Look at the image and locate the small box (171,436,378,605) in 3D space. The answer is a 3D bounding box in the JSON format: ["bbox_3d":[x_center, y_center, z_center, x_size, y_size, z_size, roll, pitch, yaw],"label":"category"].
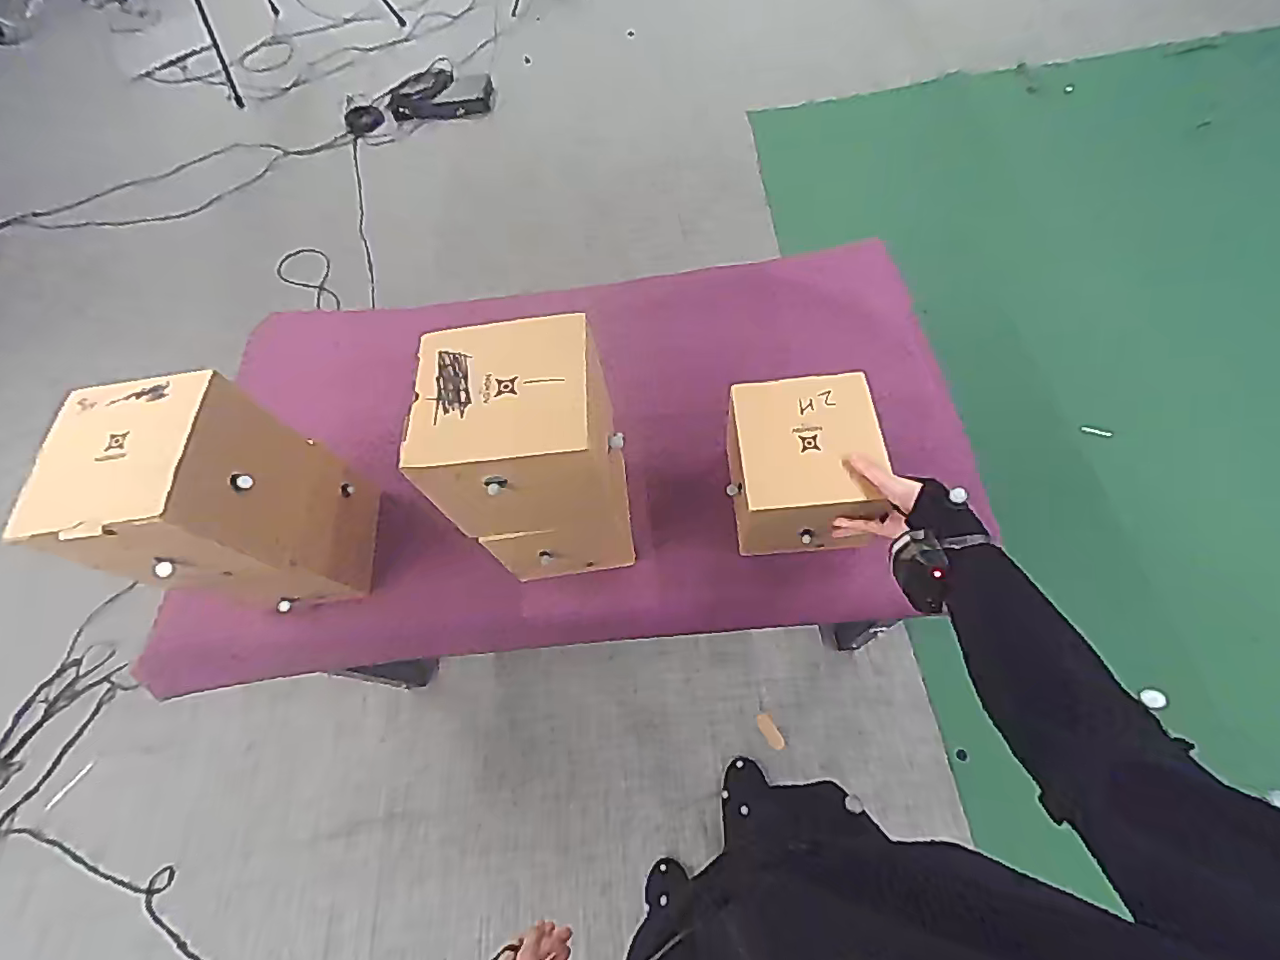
[{"bbox_3d":[-0.493,0.062,0.758,0.168,0.176,0.179,-8,63,3],"label":"small box"}]

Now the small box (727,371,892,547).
[{"bbox_3d":[0.206,-0.017,0.709,0.168,0.176,0.179,-4,64,5],"label":"small box"}]

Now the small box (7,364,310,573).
[{"bbox_3d":[-0.509,-0.001,0.607,0.168,0.176,0.179,-7,63,4],"label":"small box"}]

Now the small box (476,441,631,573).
[{"bbox_3d":[-0.108,0.018,0.733,0.168,0.176,0.179,-8,60,3],"label":"small box"}]

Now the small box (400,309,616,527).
[{"bbox_3d":[-0.127,-0.057,0.588,0.179,0.176,0.168,-6,62,4],"label":"small box"}]
